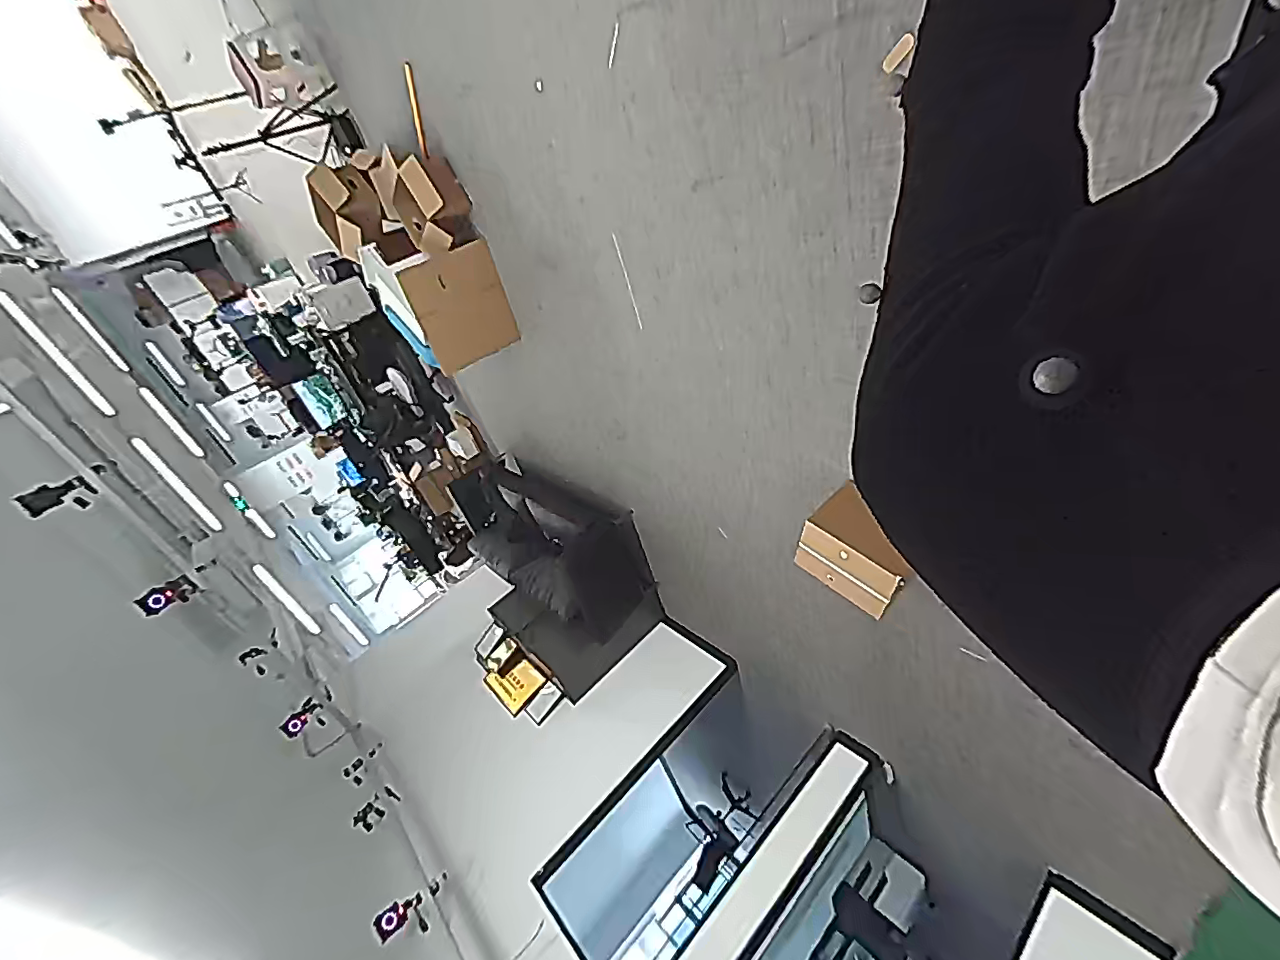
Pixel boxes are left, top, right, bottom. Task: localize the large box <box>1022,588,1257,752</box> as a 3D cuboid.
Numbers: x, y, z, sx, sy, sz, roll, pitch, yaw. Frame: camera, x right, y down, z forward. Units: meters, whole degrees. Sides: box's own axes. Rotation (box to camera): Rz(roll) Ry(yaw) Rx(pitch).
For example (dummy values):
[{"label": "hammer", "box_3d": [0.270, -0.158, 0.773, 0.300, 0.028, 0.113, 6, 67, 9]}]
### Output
[{"label": "large box", "box_3d": [1.491, 0.545, 1.634, 0.320, 0.320, 0.408, 54, 153, -5]}]
